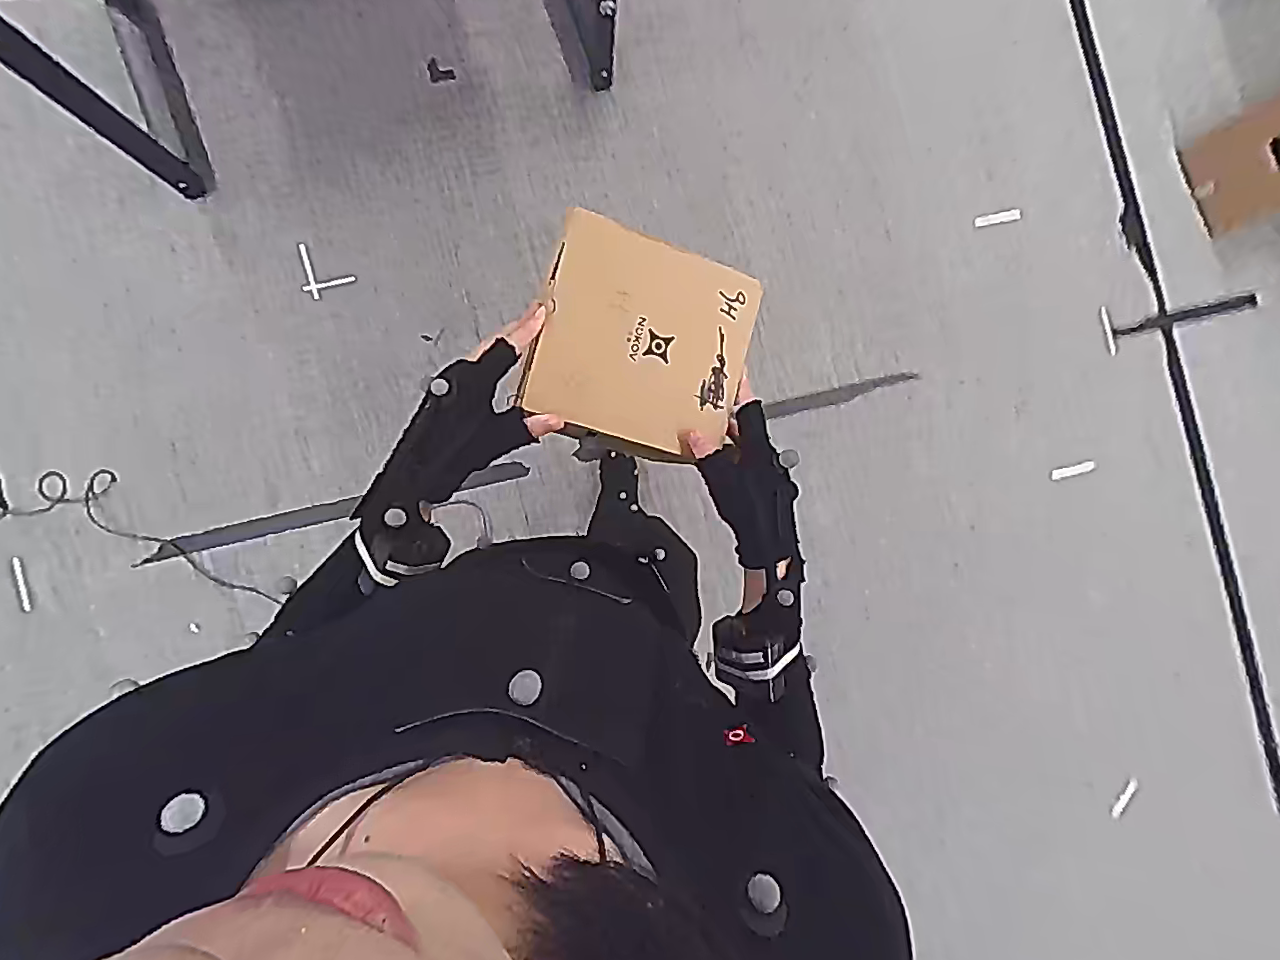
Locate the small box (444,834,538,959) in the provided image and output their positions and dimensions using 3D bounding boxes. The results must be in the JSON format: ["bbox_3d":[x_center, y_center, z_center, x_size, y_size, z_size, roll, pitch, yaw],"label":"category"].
[{"bbox_3d":[-0.361,1.029,1.340,0.179,0.176,0.168,-16,91,-8],"label":"small box"}]
